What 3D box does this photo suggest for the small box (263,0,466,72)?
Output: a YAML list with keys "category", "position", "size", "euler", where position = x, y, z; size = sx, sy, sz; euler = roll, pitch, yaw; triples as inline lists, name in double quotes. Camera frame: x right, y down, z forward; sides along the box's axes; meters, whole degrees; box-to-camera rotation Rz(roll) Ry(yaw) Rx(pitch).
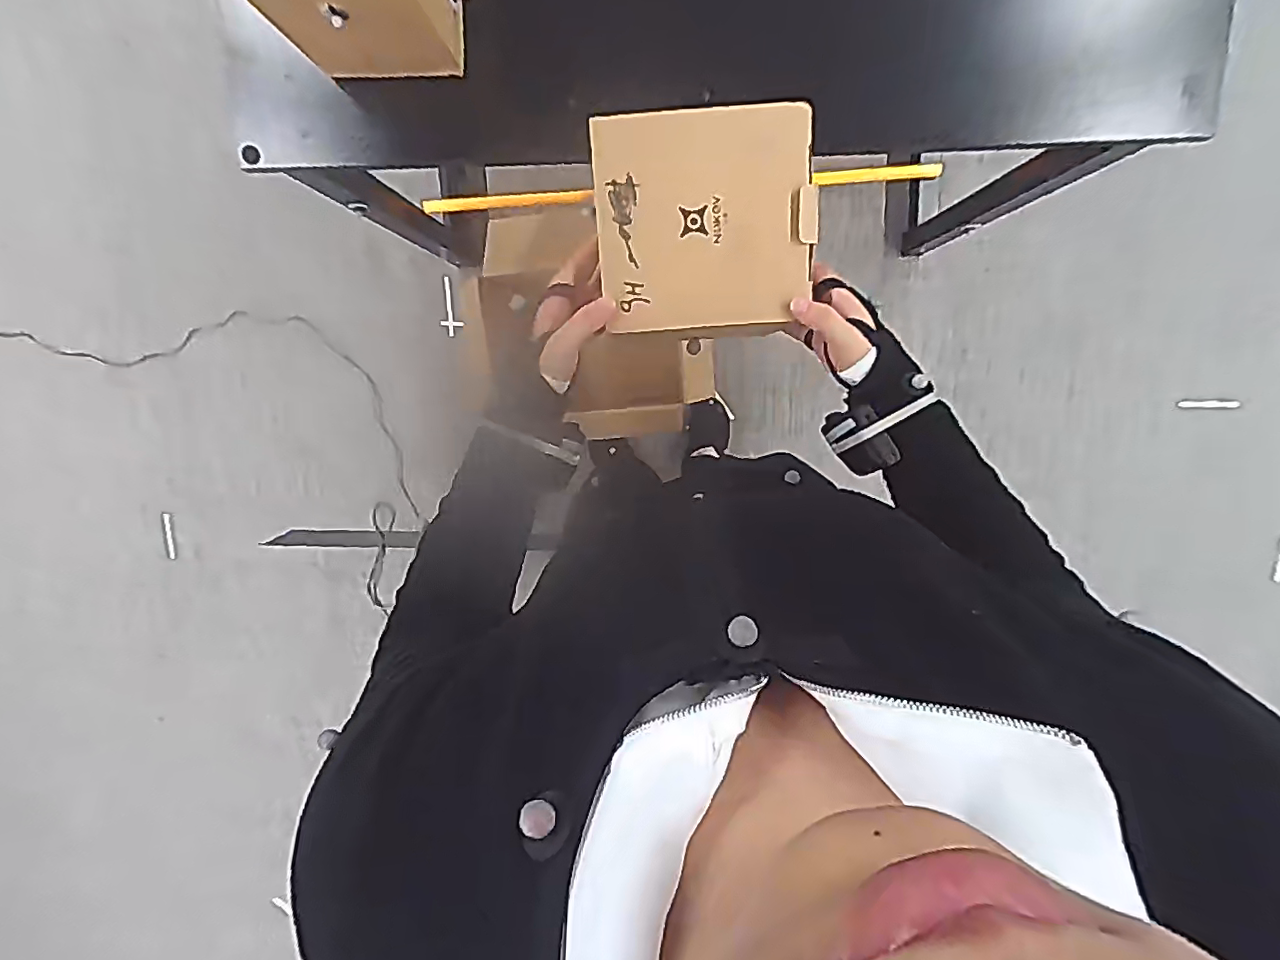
- category: "small box"
  position: [-0.301, -0.564, 0.570]
  size: [0.179, 0.176, 0.168]
  euler: [0, 102, 1]
